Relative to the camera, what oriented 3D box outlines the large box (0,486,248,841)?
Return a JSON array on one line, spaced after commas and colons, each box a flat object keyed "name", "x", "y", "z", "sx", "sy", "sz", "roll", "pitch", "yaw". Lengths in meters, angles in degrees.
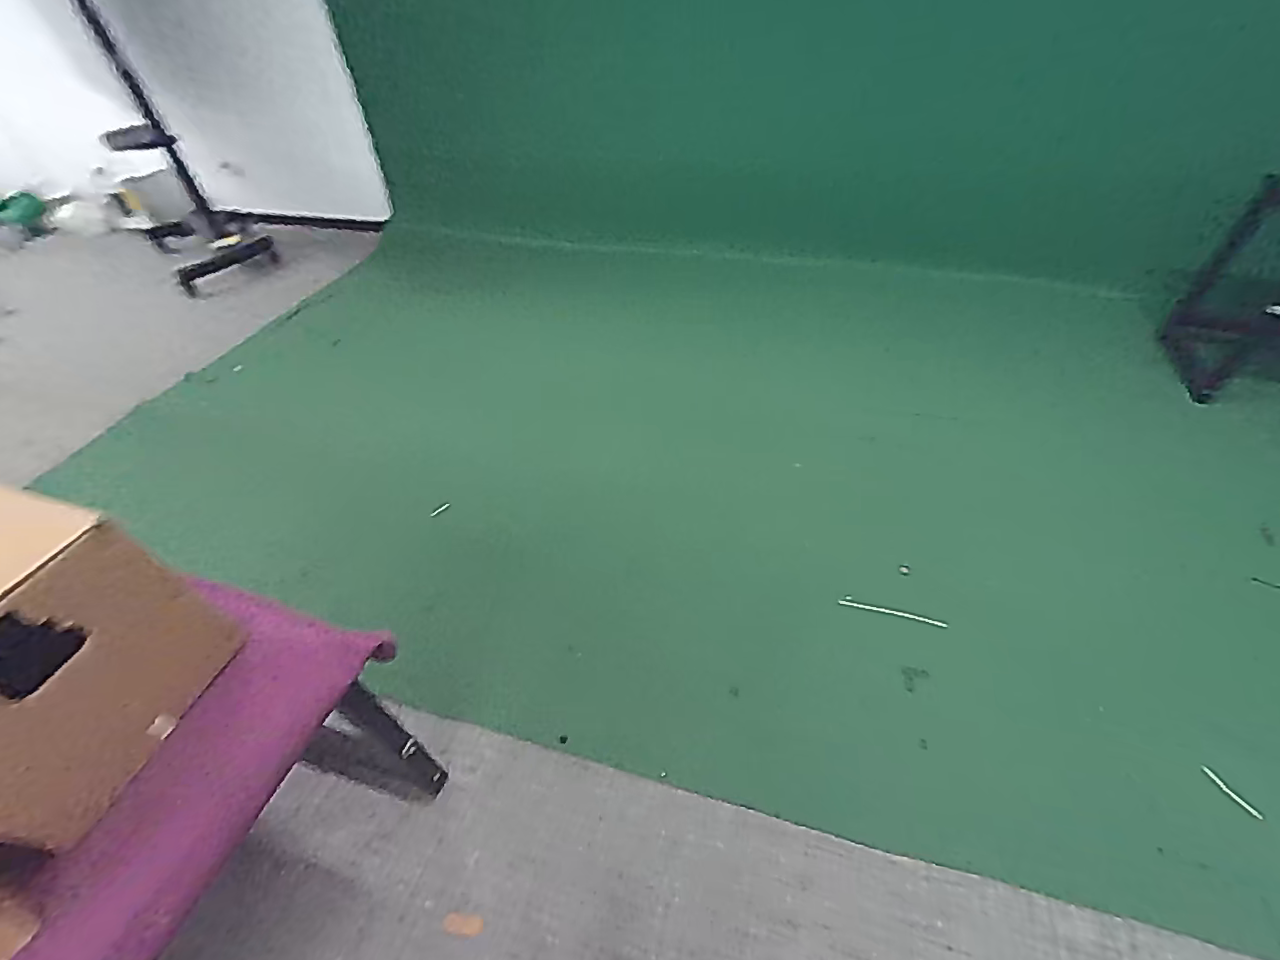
[{"name": "large box", "x": -0.868, "y": 0.220, "z": 0.719, "sx": 0.408, "sy": 0.320, "sz": 0.320, "roll": 11, "pitch": 49, "yaw": 12}]
